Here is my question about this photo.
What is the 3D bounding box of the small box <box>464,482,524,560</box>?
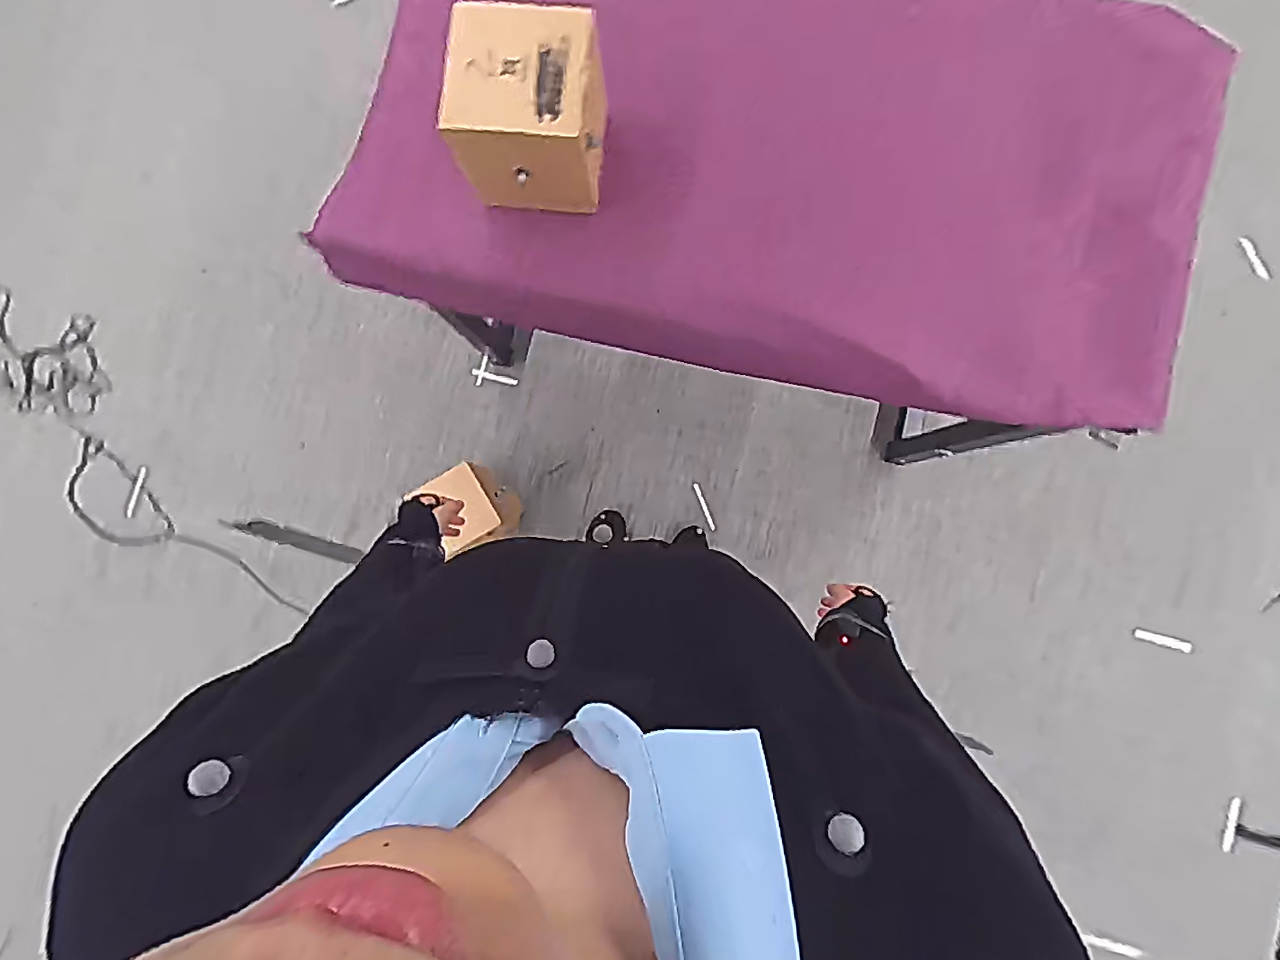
[{"bbox_3d":[-0.435,0.091,1.443,0.168,0.176,0.179,38,88,3],"label":"small box"}]

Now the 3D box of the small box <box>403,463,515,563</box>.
[{"bbox_3d":[-0.414,0.078,1.278,0.179,0.176,0.168,-31,86,-1],"label":"small box"}]
